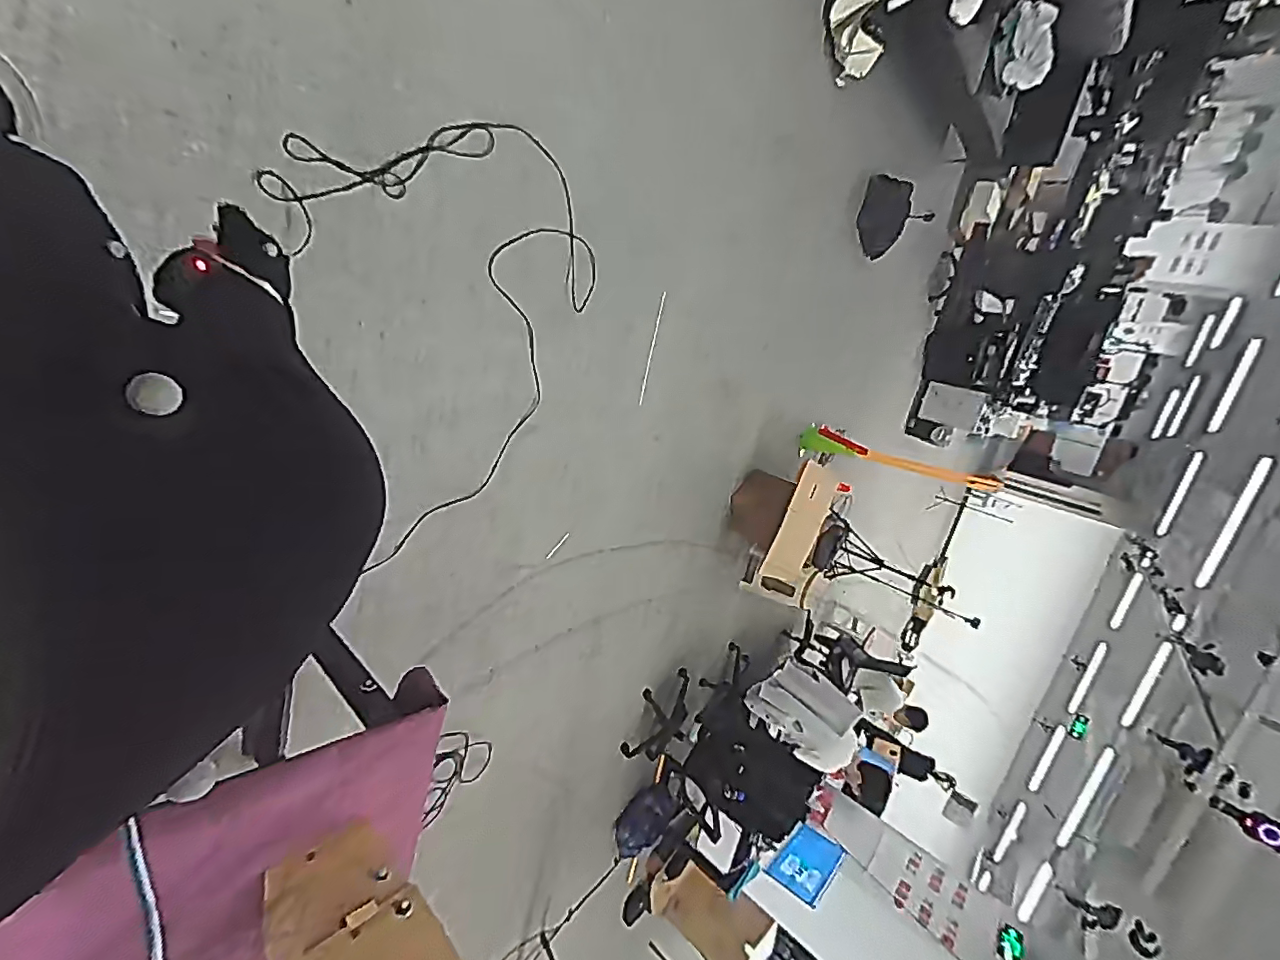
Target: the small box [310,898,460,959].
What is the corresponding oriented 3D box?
[{"bbox_3d":[-0.399,0.792,0.823,0.168,0.176,0.179,1,109,-50],"label":"small box"}]
